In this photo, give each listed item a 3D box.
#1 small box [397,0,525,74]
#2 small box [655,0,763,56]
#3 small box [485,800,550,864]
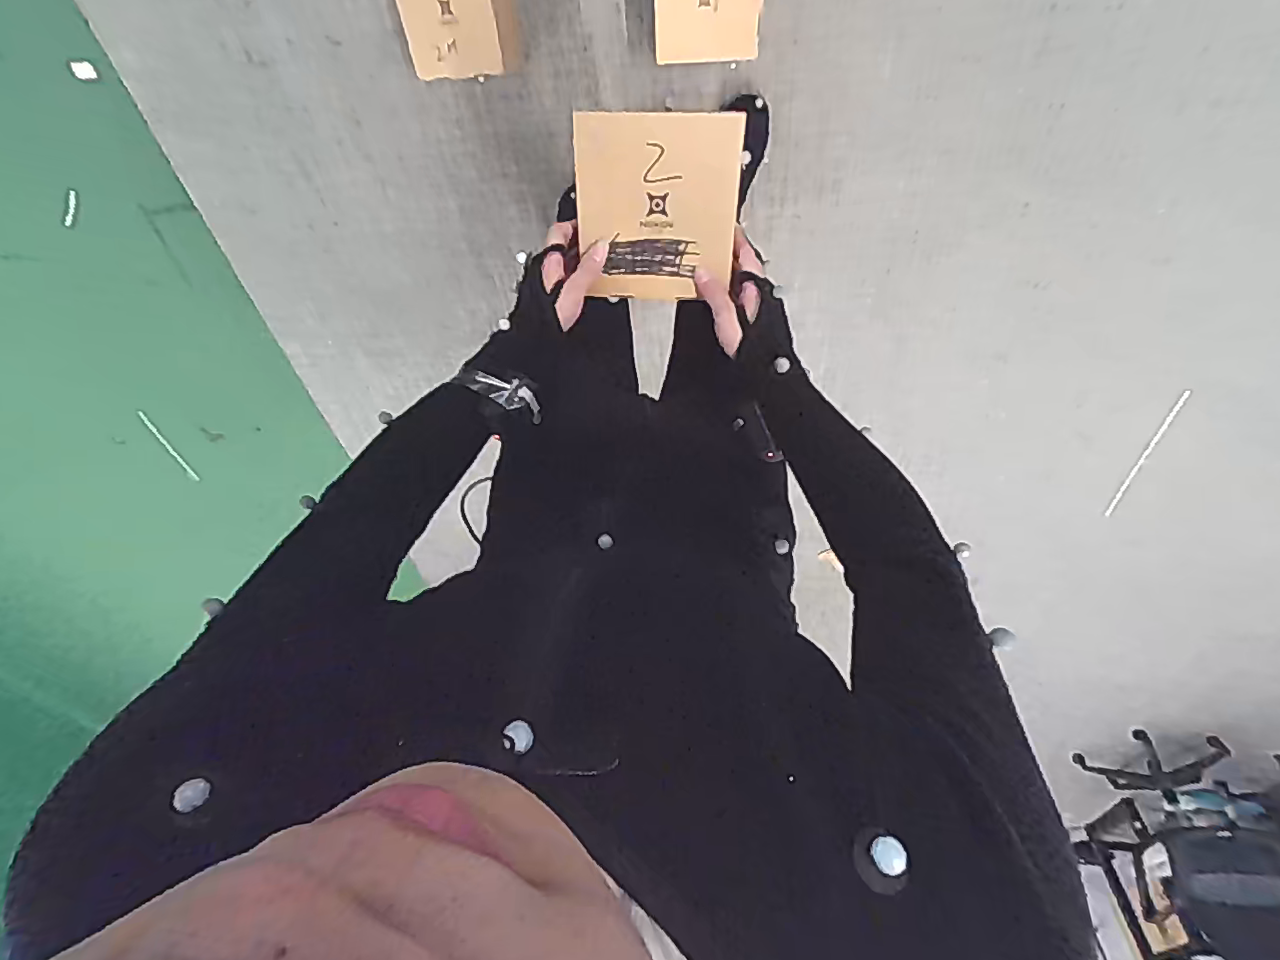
[{"bbox_3d":[-0.316,-0.840,0.958,0.168,0.176,0.179,1,133,7],"label":"small box"},{"bbox_3d":[0.117,-0.832,0.916,0.179,0.176,0.168,0,133,6],"label":"small box"},{"bbox_3d":[-0.434,1.256,1.941,0.168,0.176,0.179,-1,133,8],"label":"small box"}]
